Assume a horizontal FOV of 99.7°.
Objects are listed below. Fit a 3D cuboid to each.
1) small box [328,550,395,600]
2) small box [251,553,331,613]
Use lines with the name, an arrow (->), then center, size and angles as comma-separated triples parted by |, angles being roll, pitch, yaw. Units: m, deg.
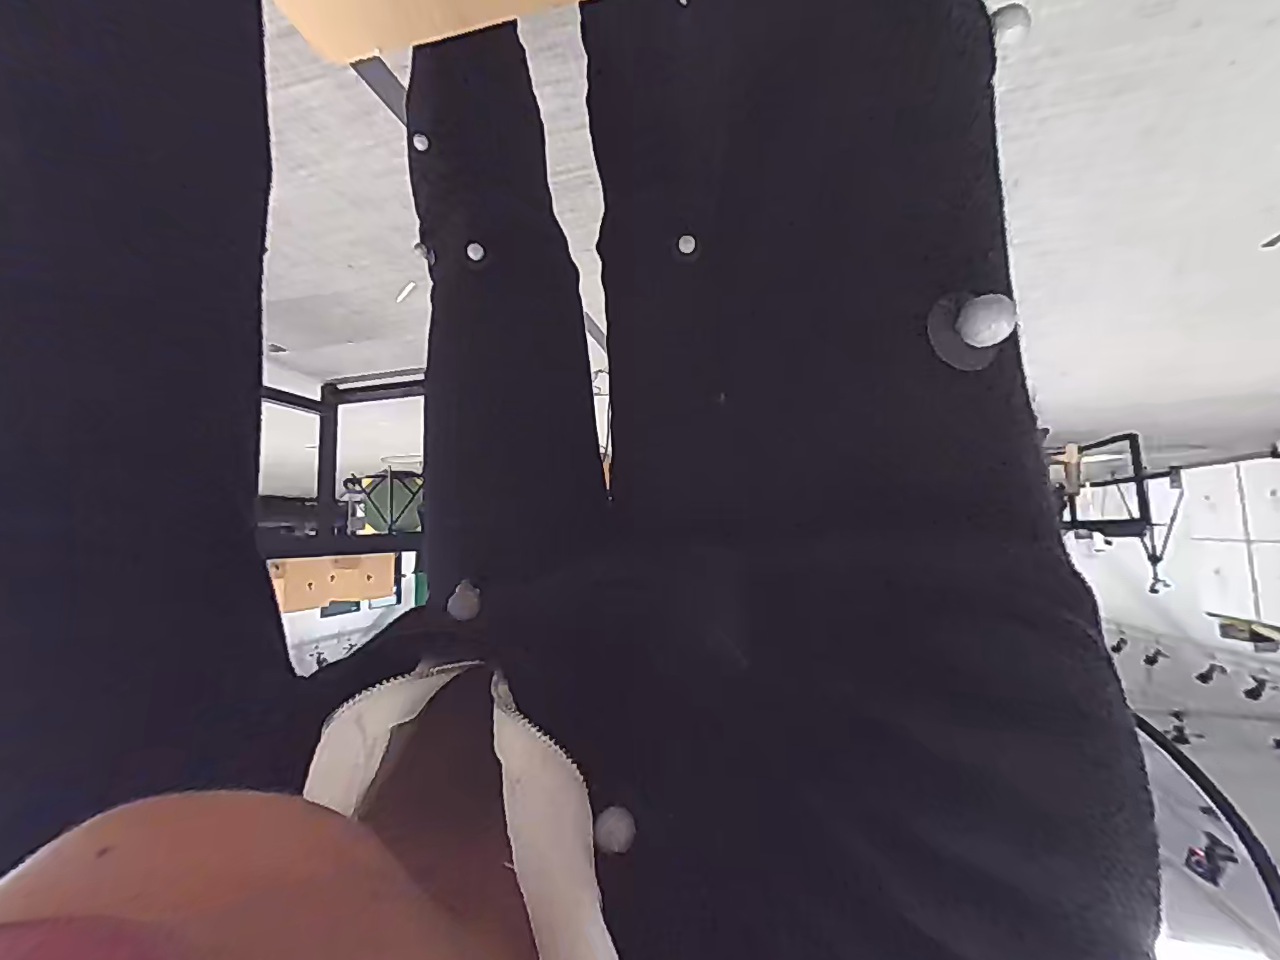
small box -> -1.034, 0.349, 1.996 | 0.168, 0.176, 0.179 | -2, 175, 17
small box -> -1.116, 0.324, 1.714 | 0.168, 0.176, 0.179 | -3, 175, 13
